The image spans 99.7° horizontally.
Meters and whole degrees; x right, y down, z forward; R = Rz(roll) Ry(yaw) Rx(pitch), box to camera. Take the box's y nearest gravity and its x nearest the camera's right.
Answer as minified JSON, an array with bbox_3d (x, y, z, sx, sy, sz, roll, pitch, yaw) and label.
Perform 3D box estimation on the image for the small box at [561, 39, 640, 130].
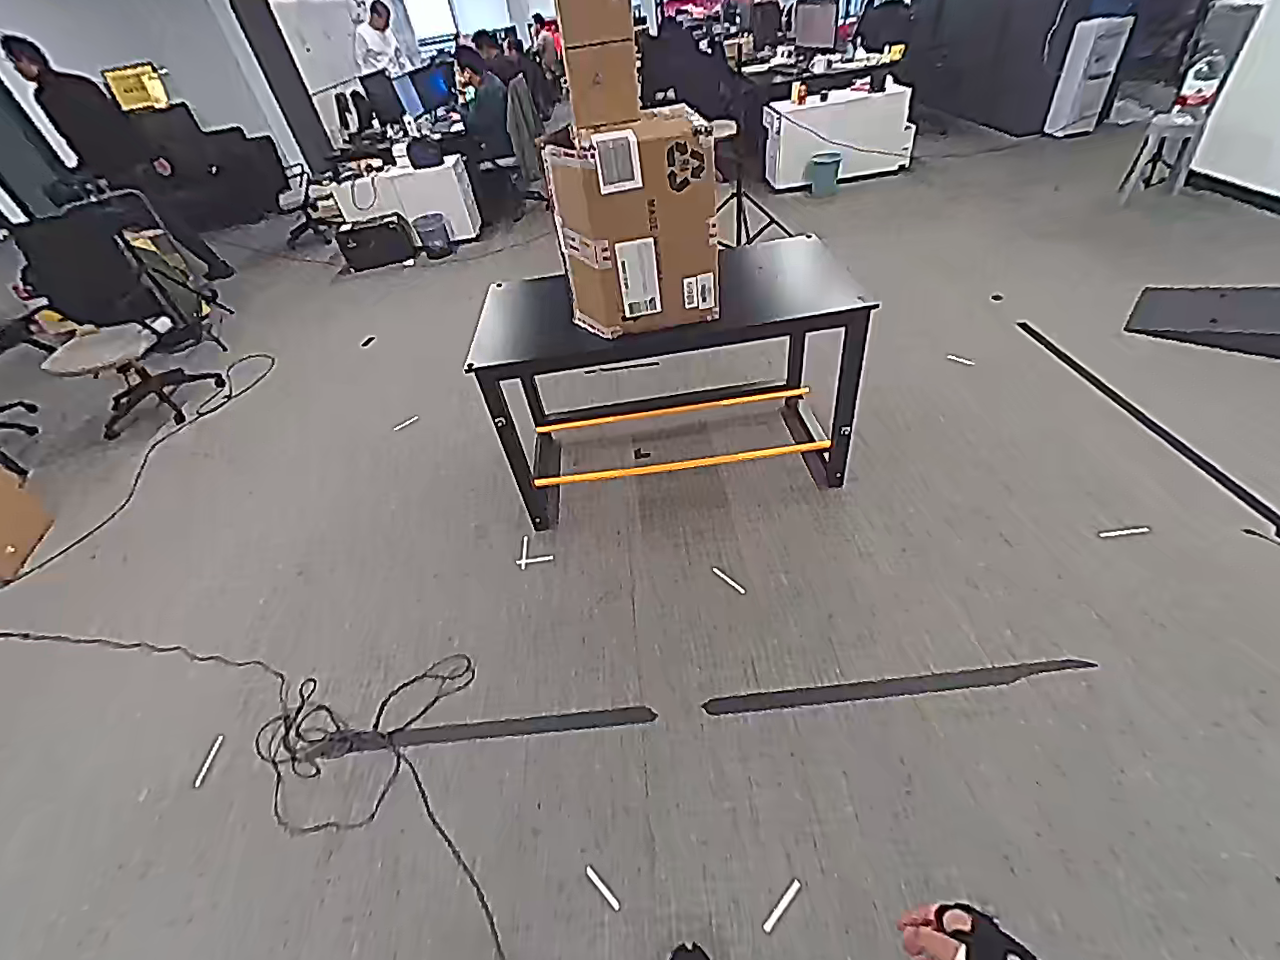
[{"bbox_3d":[-0.104,-1.039,1.423,0.179,0.176,0.168,-10,40,-1],"label":"small box"}]

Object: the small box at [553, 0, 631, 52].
[{"bbox_3d":[-0.121,-1.160,1.315,0.179,0.176,0.168,-12,39,-3],"label":"small box"}]
